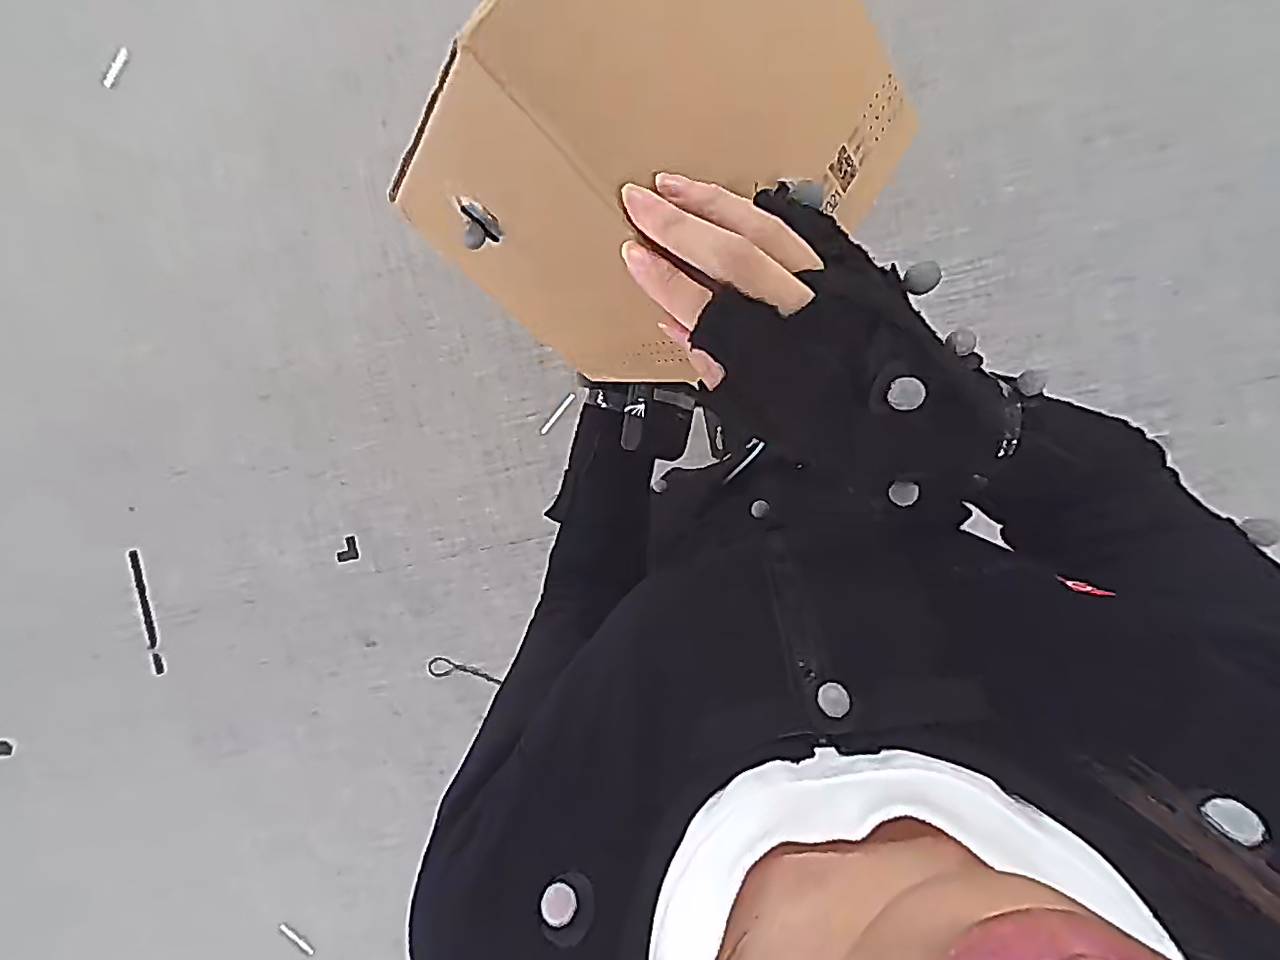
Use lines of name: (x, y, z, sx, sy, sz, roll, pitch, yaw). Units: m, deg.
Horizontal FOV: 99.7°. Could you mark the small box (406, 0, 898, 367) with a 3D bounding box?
small box: (0.002, -0.177, 0.304, 0.176, 0.179, 0.168, 37, 79, -31)
